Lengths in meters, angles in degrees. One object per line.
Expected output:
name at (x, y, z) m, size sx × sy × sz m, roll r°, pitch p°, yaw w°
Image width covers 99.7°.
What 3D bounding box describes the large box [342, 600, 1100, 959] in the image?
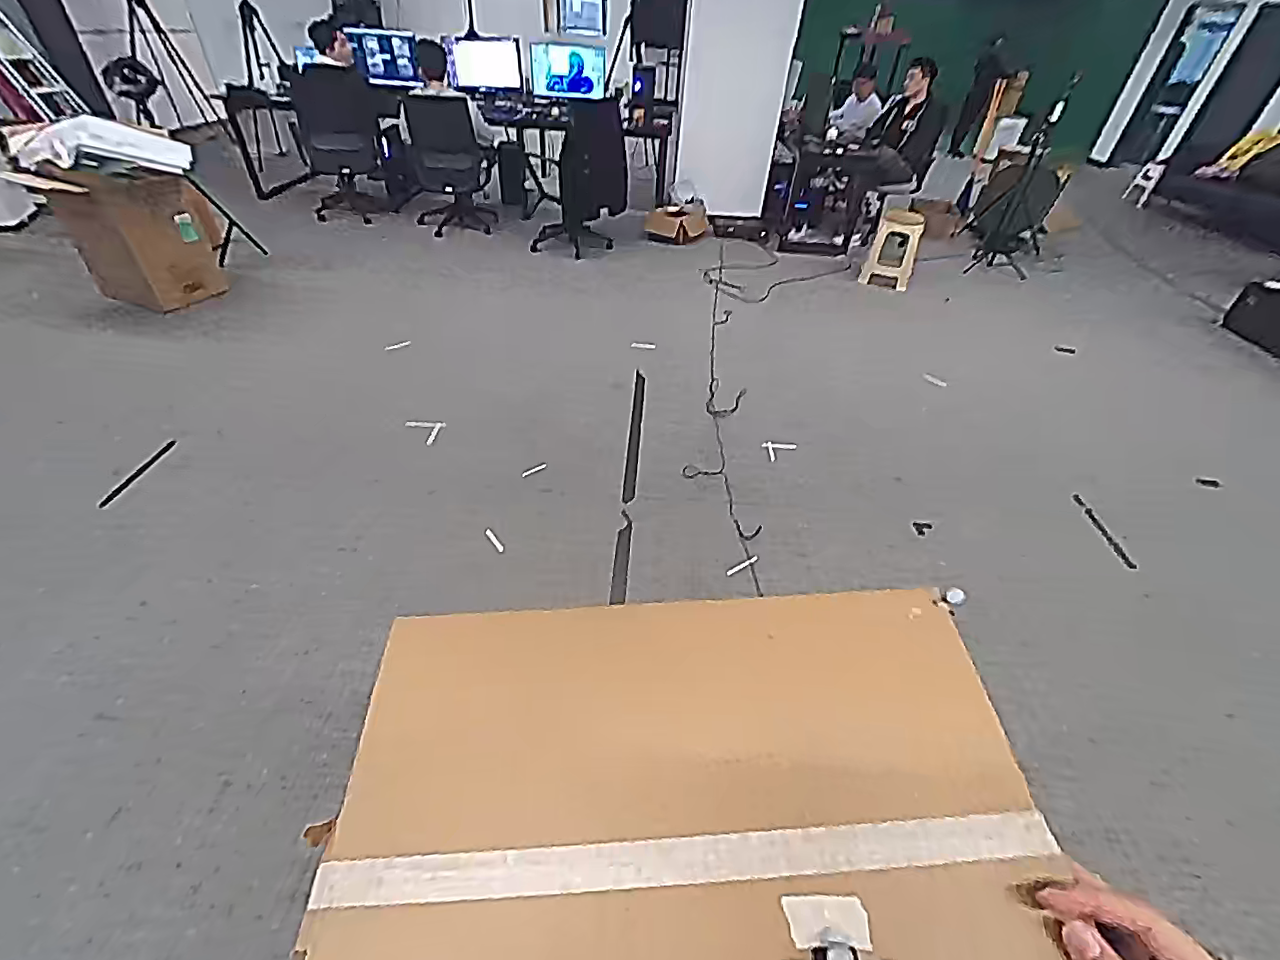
large box at (0.038, 0.314, 0.423) m, size 0.408 × 0.320 × 0.320 m, roll -2°, pitch 51°, yaw -2°
